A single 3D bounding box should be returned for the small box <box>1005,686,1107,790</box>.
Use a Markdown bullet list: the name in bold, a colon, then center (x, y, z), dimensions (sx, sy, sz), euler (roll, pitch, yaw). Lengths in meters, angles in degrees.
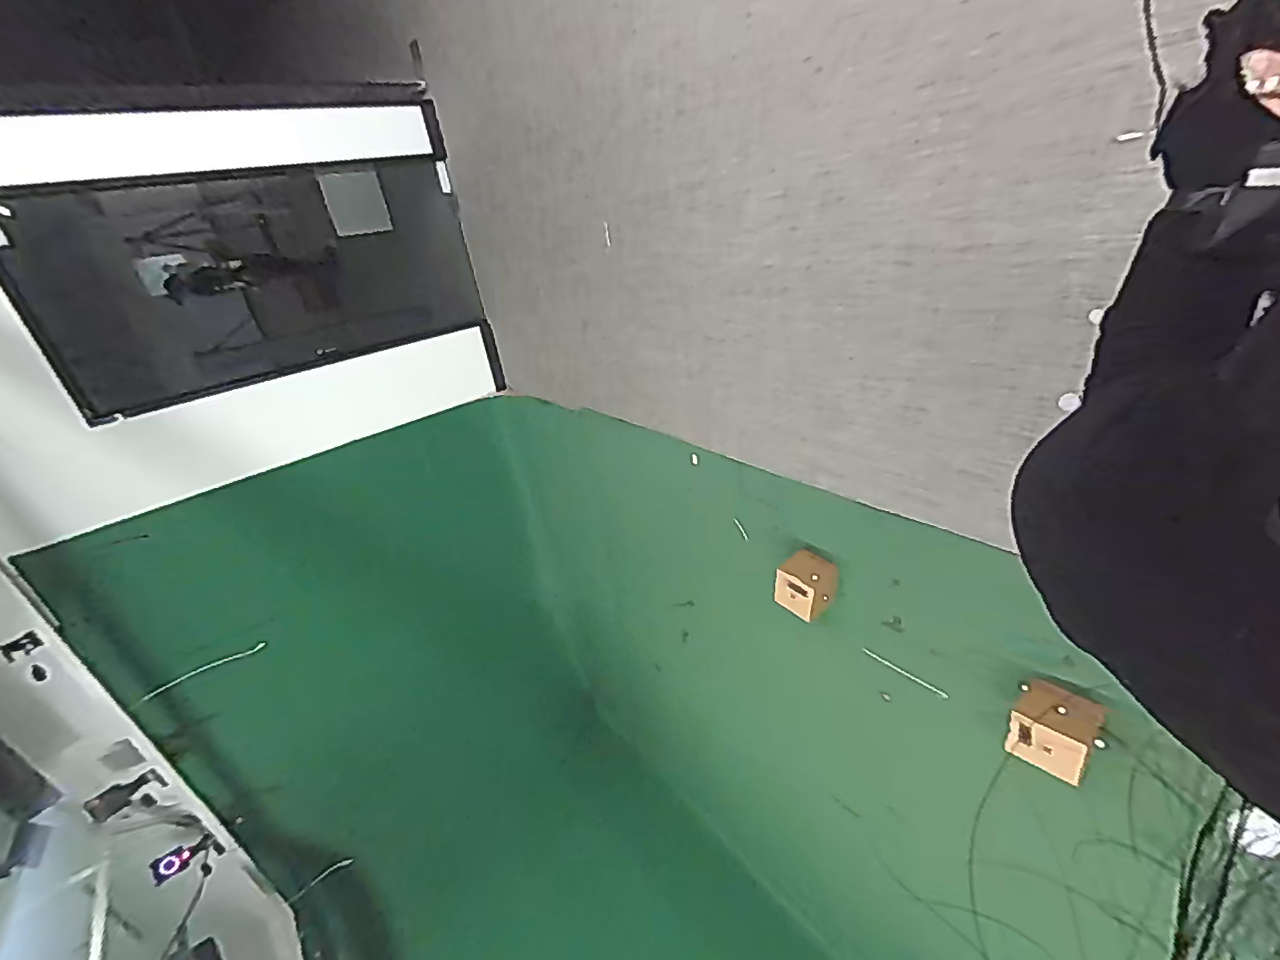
- **small box**: center (1.174, 0.717, 1.529), dimensions (0.179, 0.176, 0.168), euler (20, 128, 47)
